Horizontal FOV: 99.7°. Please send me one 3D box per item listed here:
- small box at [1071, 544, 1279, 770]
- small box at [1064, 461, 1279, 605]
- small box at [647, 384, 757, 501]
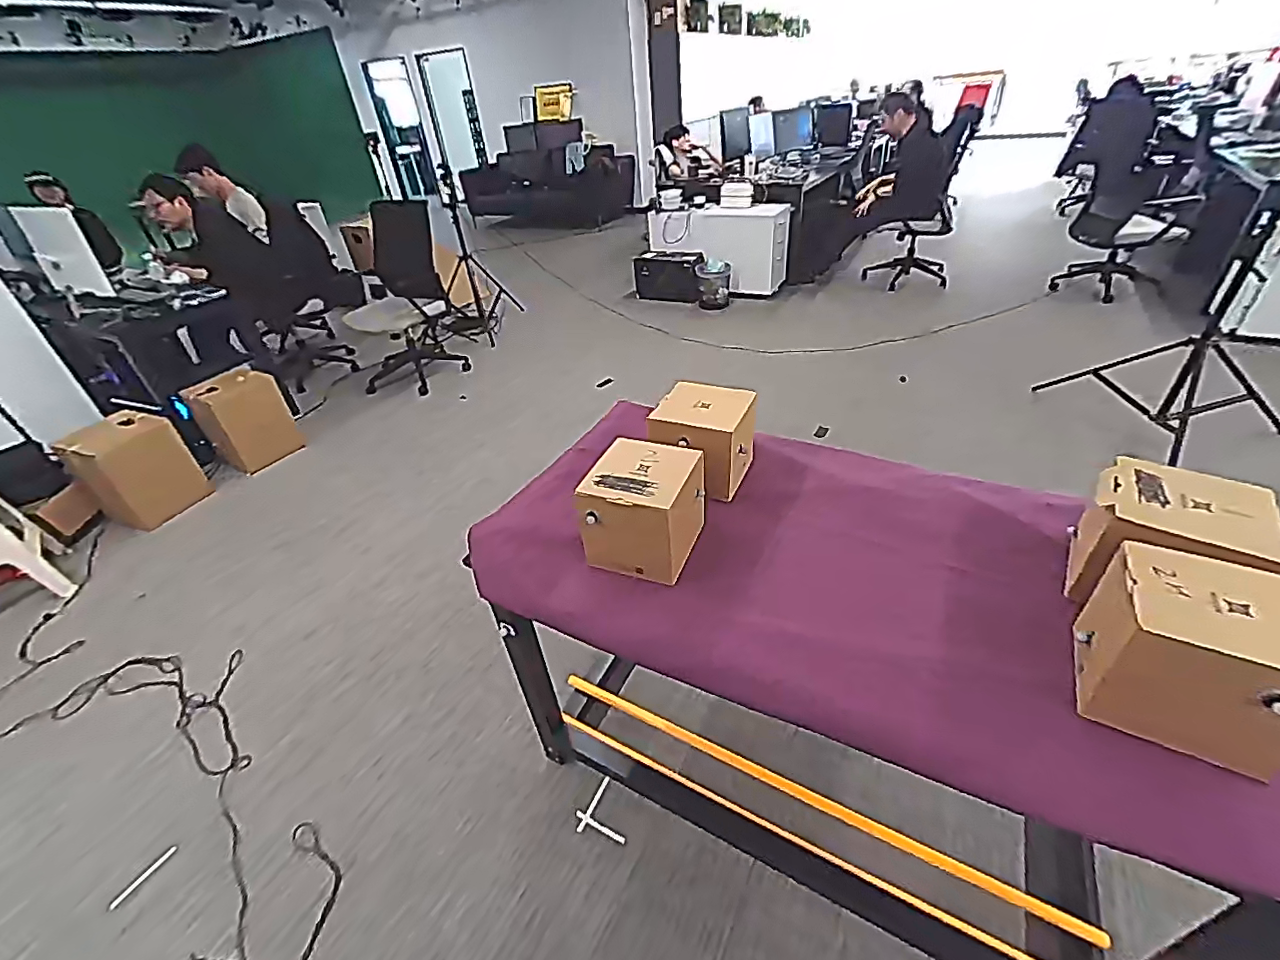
[{"bbox_3d":[0.657,0.211,0.651,0.179,0.176,0.168,16,39,28],"label":"small box"},{"bbox_3d":[0.755,0.102,0.788,0.179,0.176,0.168,20,45,30],"label":"small box"},{"bbox_3d":[0.131,-0.077,1.119,0.179,0.176,0.168,12,40,23],"label":"small box"}]
